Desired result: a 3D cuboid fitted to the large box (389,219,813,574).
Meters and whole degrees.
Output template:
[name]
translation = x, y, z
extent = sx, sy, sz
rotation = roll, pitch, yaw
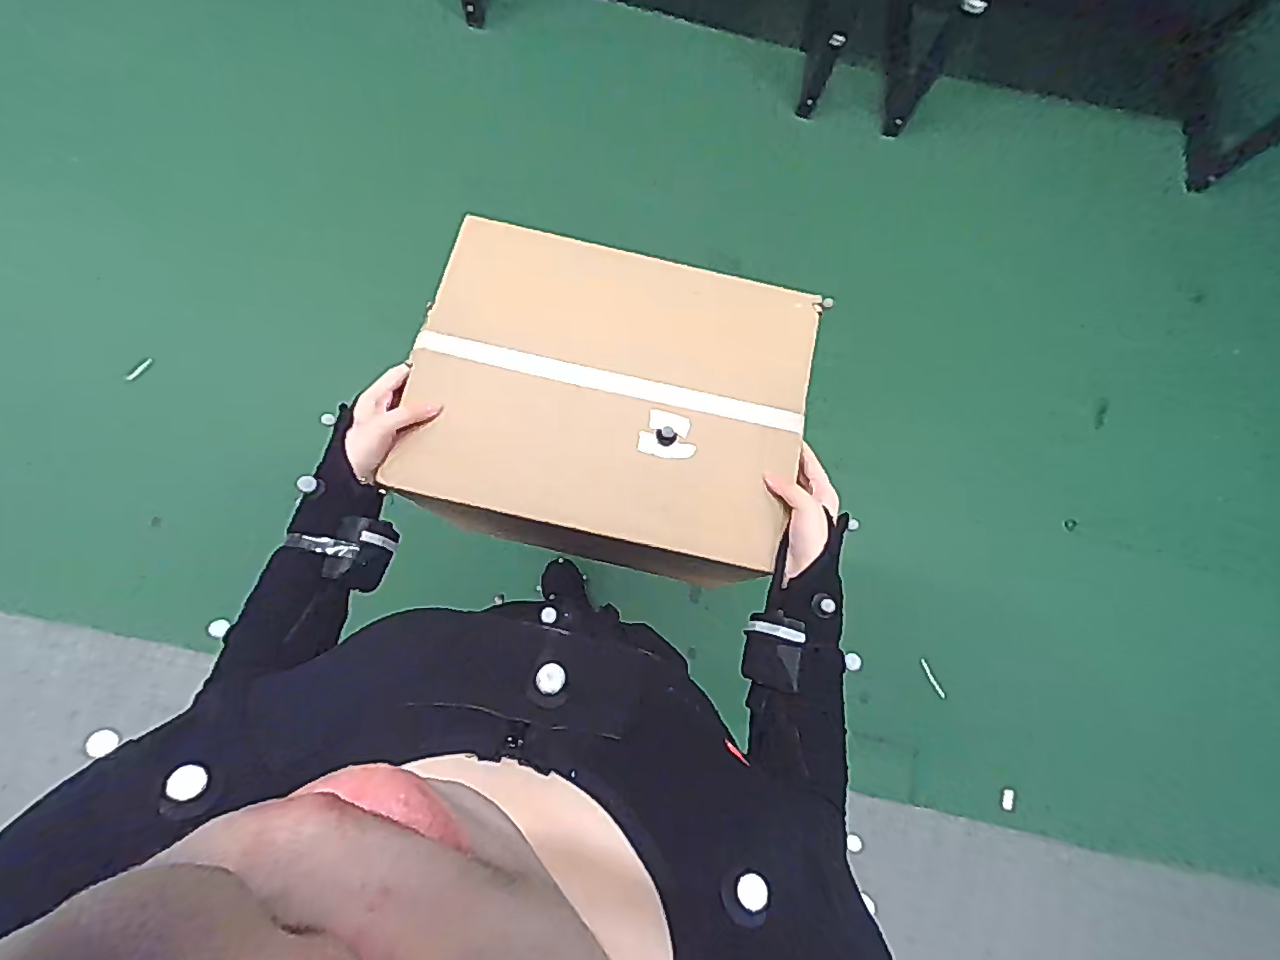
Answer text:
[large box]
translation = -0.038, -0.073, 0.711
extent = 0.408, 0.320, 0.320
rotation = 12, 77, -2
